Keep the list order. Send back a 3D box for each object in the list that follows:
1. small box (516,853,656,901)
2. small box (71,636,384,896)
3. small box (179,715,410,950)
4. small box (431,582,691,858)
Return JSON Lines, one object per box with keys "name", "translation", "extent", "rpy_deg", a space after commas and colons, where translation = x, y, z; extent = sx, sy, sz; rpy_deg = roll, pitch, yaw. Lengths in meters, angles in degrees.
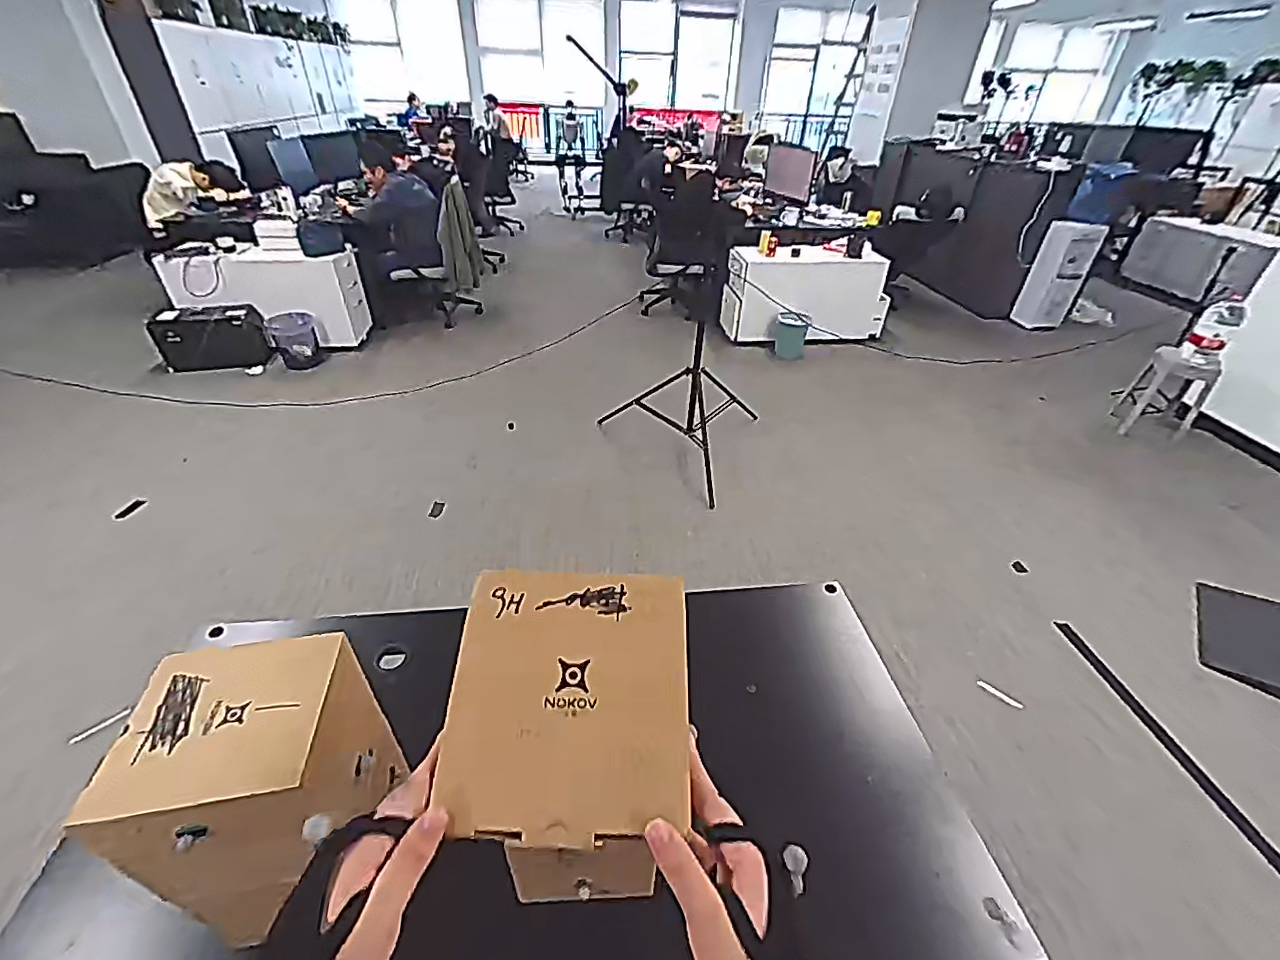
{"name": "small box", "translation": [-0.067, 0.401, 0.690], "extent": [0.168, 0.176, 0.179], "rpy_deg": [-1, 36, -3]}
{"name": "small box", "translation": [-0.386, 0.289, 0.552], "extent": [0.179, 0.176, 0.168], "rpy_deg": [-5, 37, -10]}
{"name": "small box", "translation": [-0.389, 0.419, 0.652], "extent": [0.168, 0.176, 0.179], "rpy_deg": [-6, 38, -9]}
{"name": "small box", "translation": [-0.048, 0.197, 0.443], "extent": [0.168, 0.176, 0.179], "rpy_deg": [2, 57, -1]}
